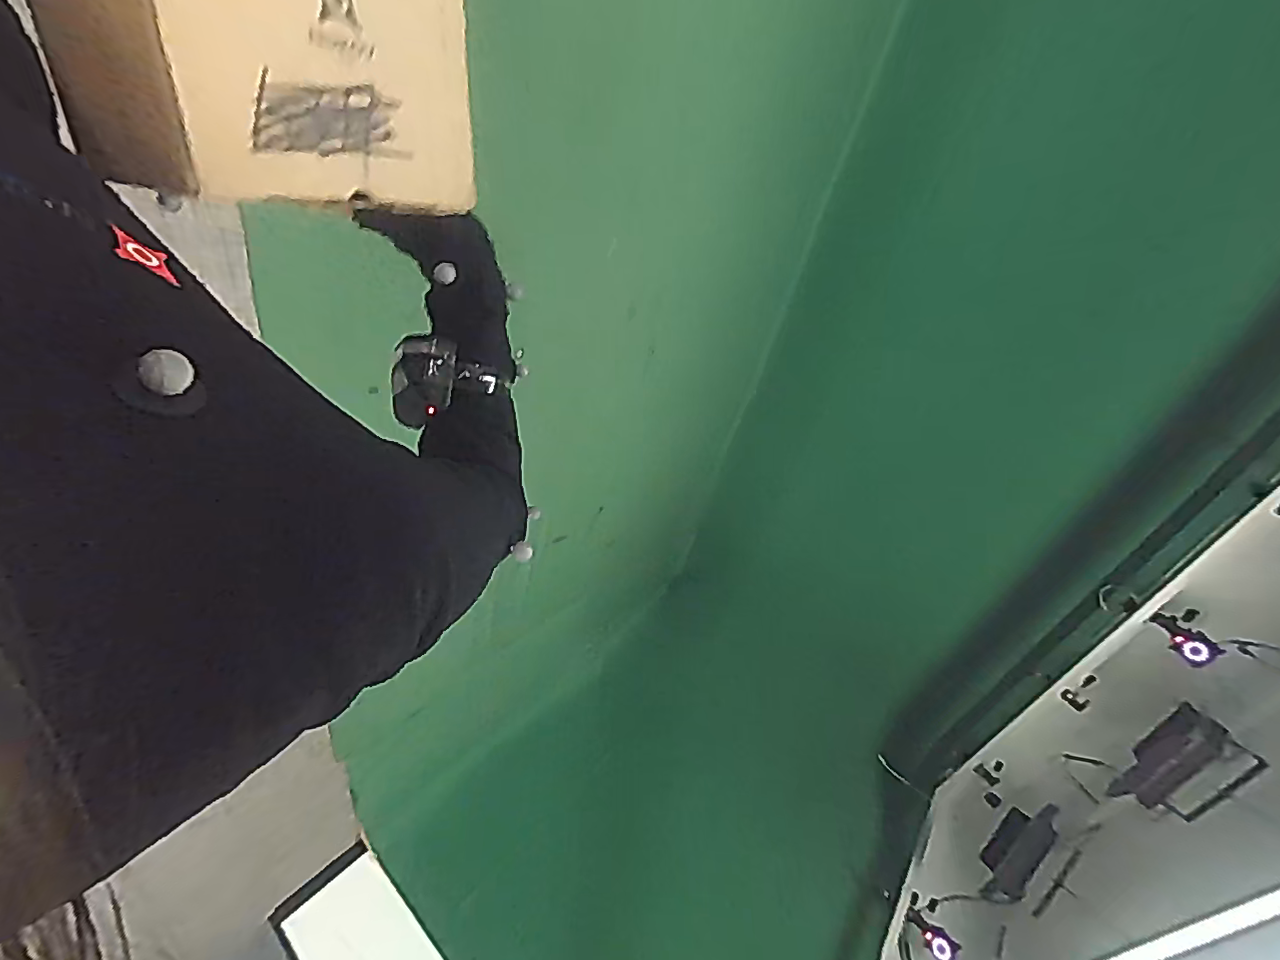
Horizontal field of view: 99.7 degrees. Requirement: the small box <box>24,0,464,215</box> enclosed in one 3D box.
[{"bbox_3d":[-0.230,-0.265,0.324,0.168,0.176,0.179,-31,133,-49],"label":"small box"}]
